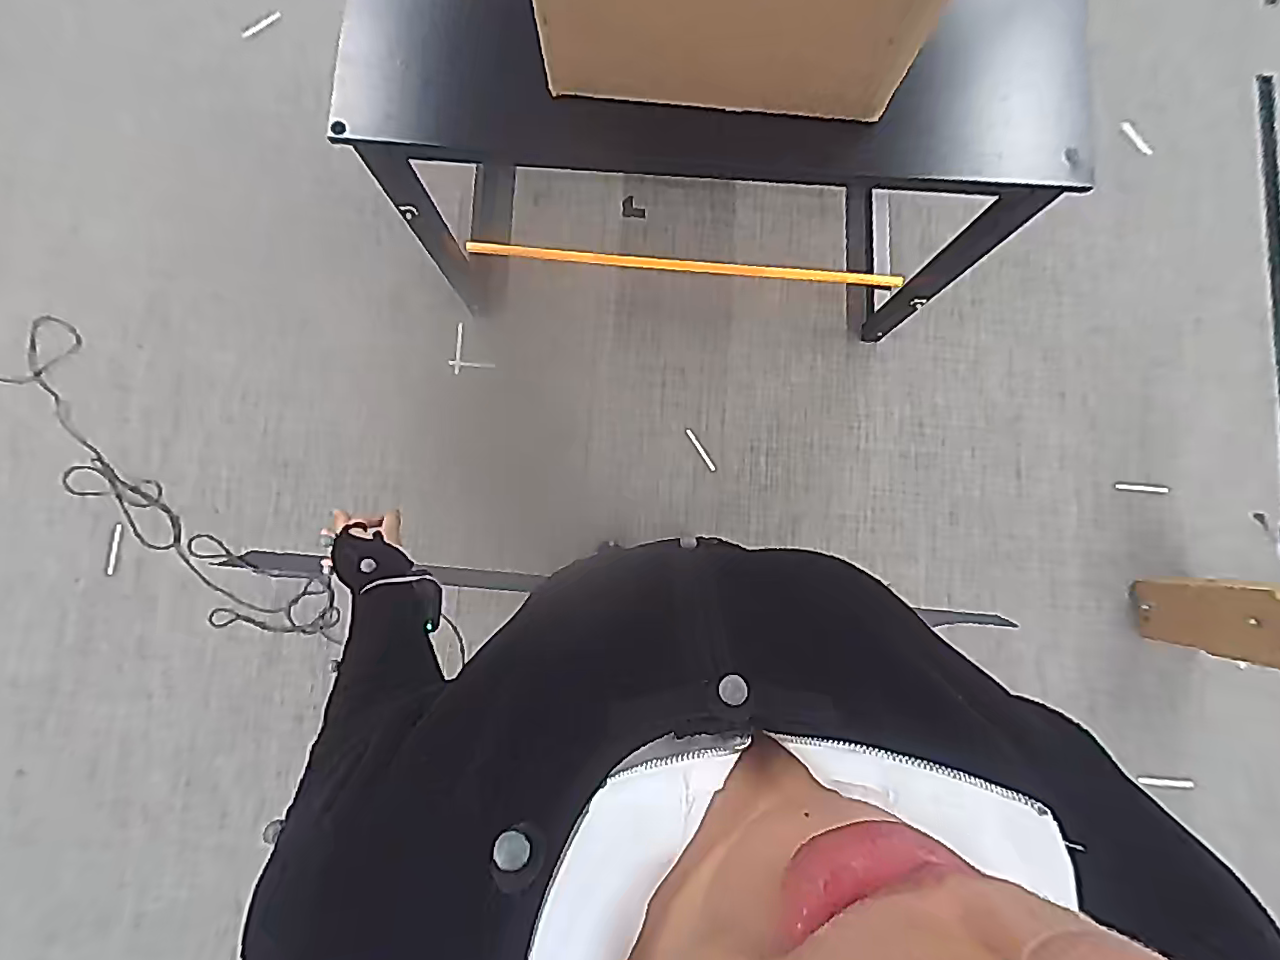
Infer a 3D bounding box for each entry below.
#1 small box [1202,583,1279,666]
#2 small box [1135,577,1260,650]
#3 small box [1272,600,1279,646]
[{"bbox_3d":[1.482,0.335,1.266,0.168,0.176,0.179,-1,84,-1],"label":"small box"},{"bbox_3d":[1.478,0.347,1.430,0.179,0.176,0.168,-3,83,0],"label":"small box"},{"bbox_3d":[1.479,0.325,1.102,0.179,0.176,0.168,-5,83,-1],"label":"small box"}]
